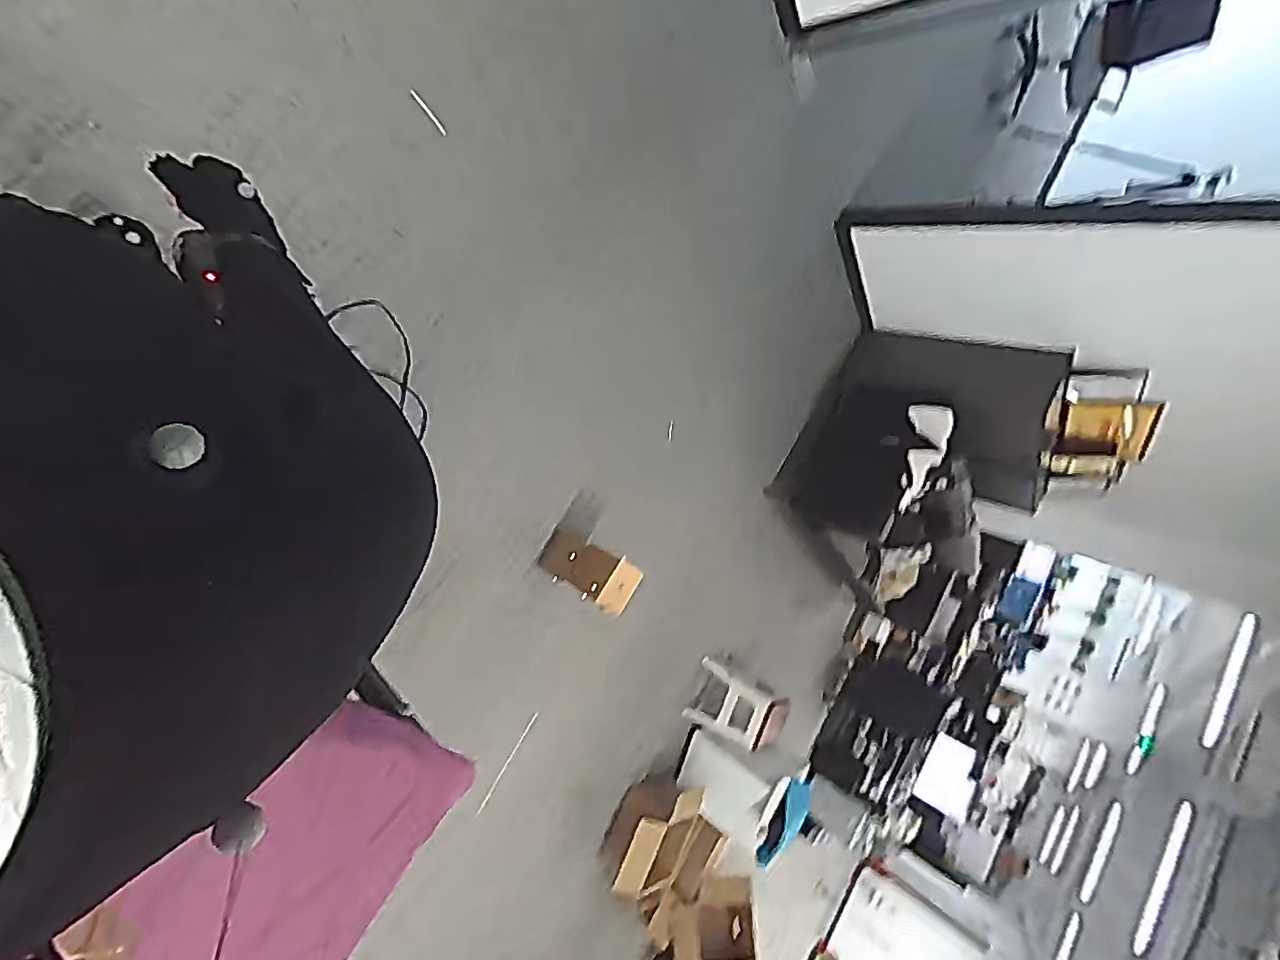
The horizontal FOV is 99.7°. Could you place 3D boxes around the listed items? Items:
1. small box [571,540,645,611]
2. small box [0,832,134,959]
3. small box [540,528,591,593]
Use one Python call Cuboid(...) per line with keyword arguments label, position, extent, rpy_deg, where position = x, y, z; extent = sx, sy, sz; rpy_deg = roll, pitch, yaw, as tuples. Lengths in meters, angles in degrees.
Cuboid(label="small box", position=(-0.121, 0.343, 1.966), extent=(0.179, 0.176, 0.168), rpy_deg=(-59, 139, -10))
Cuboid(label="small box", position=(-0.677, 0.490, 0.547), extent=(0.179, 0.176, 0.168), rpy_deg=(-56, 138, -12))
Cuboid(label="small box", position=(-0.244, 0.304, 2.067), extent=(0.168, 0.176, 0.179), rpy_deg=(-59, 140, -10))
